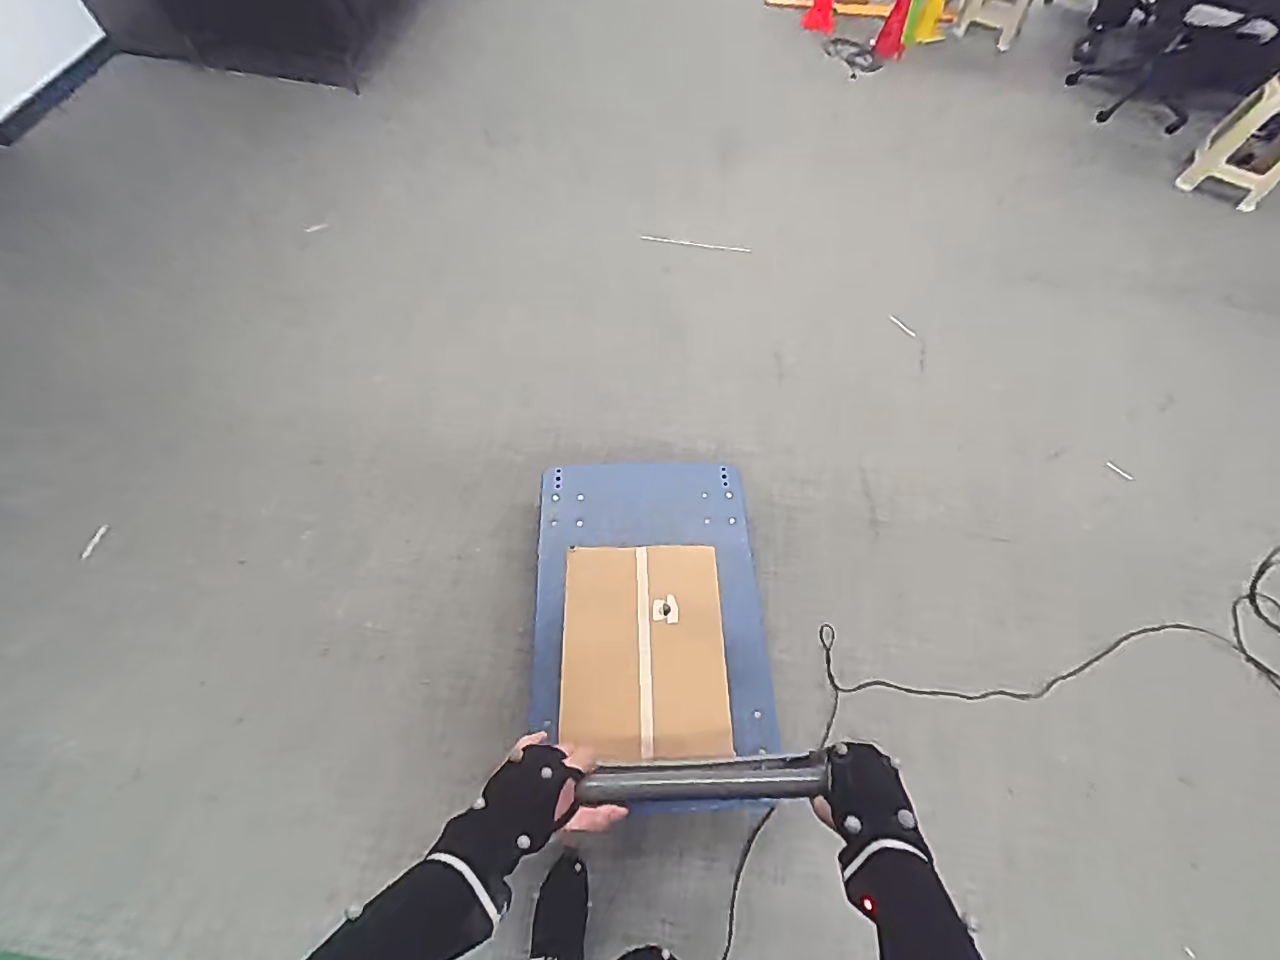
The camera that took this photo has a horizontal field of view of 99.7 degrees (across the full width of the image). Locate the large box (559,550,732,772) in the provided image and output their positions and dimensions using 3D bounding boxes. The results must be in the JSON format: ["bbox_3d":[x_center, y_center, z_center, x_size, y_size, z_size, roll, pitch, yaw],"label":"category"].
[{"bbox_3d":[-0.002,0.398,1.177,0.320,0.320,0.408,0,60,-3],"label":"large box"}]
